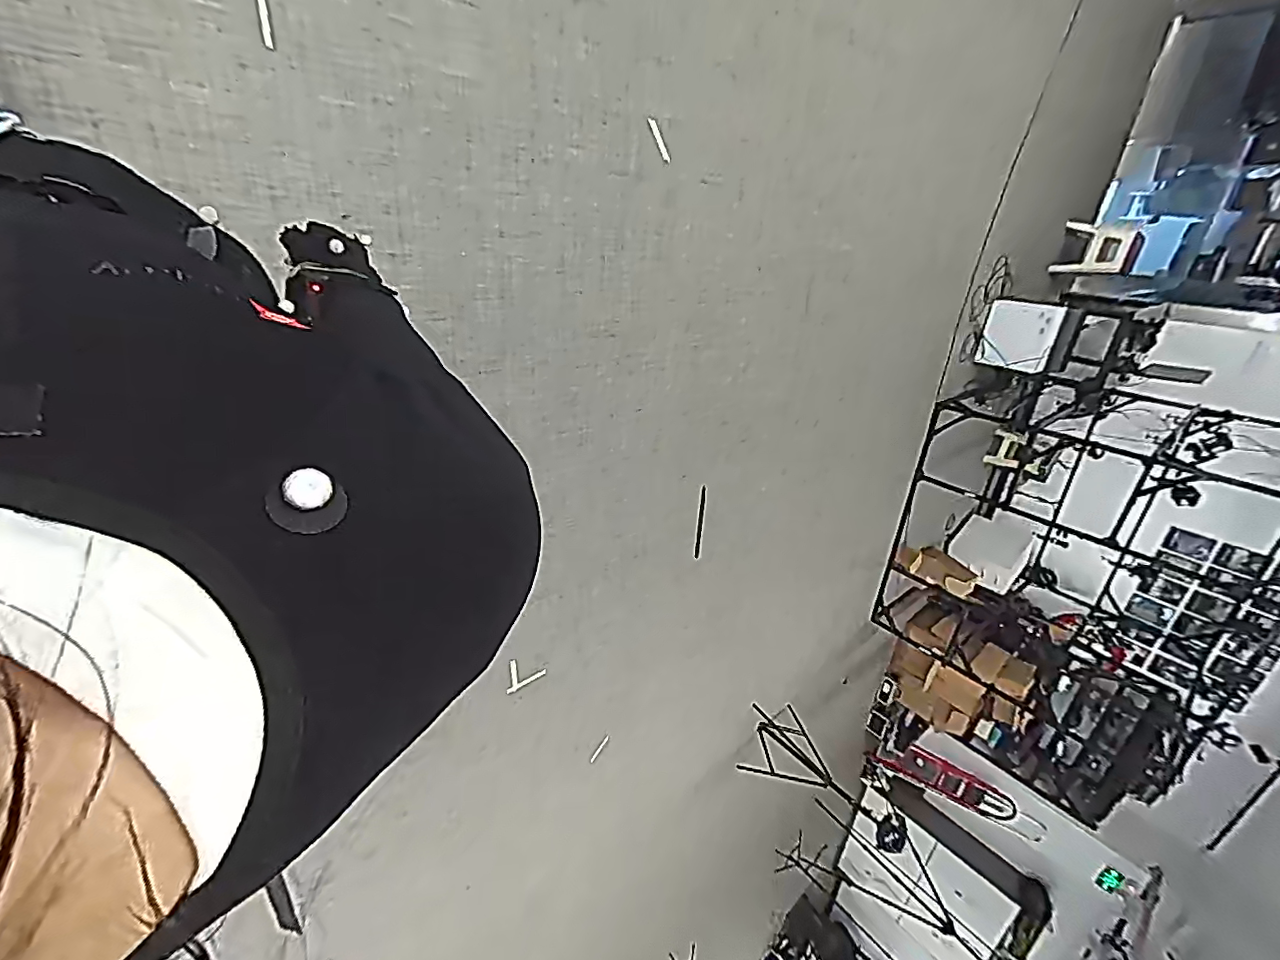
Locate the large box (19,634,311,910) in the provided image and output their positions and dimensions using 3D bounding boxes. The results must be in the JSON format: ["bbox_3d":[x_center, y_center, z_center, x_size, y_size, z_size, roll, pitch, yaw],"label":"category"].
[{"bbox_3d":[-1.067,0.642,1.255,0.408,0.320,0.320,-25,128,-34],"label":"large box"}]
